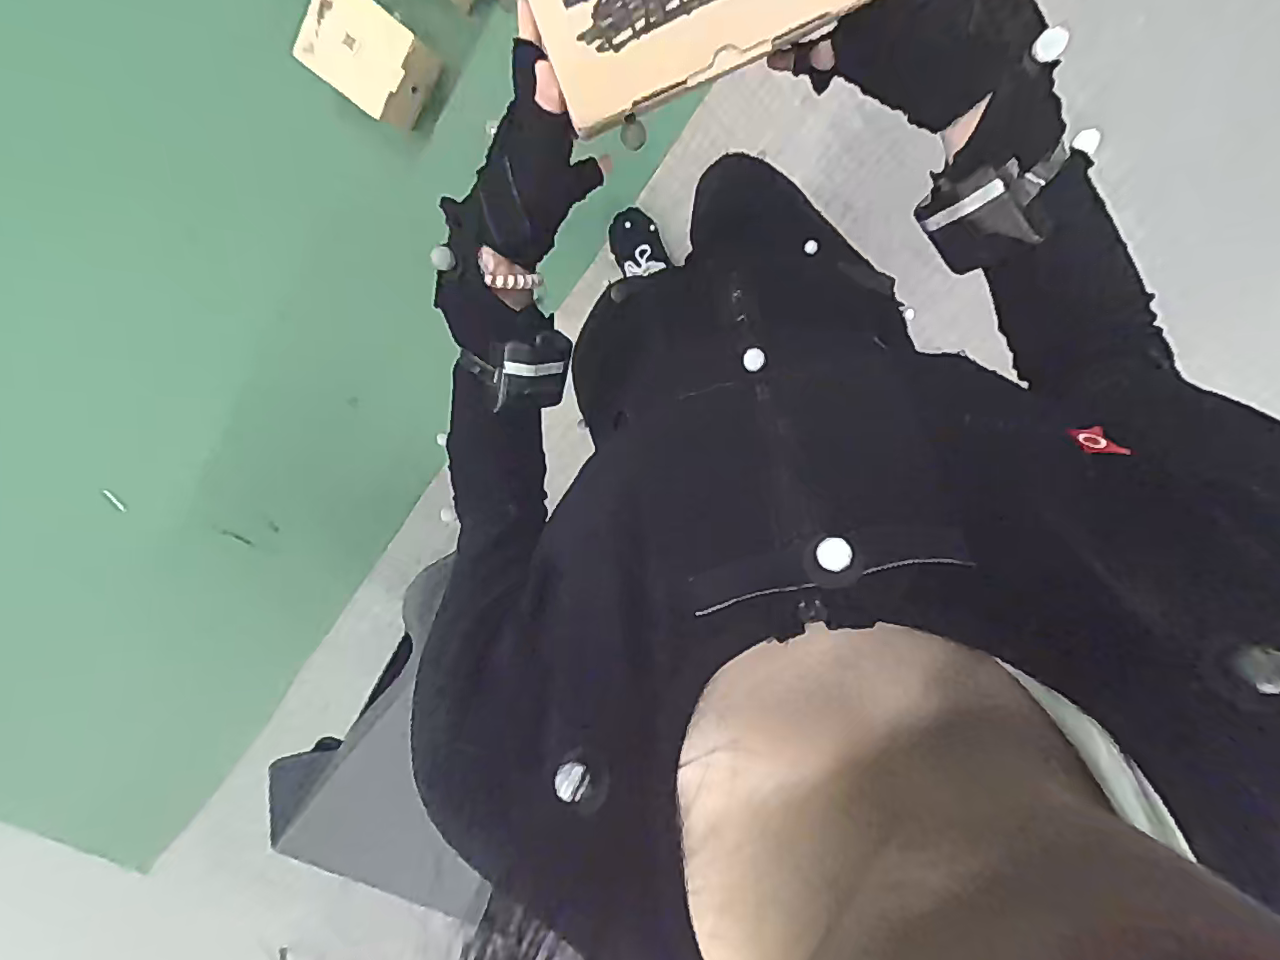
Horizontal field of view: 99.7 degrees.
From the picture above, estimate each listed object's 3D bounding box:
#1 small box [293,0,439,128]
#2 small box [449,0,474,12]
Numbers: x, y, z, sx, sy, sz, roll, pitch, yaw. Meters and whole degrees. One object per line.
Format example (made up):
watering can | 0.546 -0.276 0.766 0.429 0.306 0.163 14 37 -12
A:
small box | -0.526 -0.829 1.065 0.179 0.176 0.168 34 111 -17
small box | -0.358 -1.017 0.978 0.168 0.176 0.179 38 110 -17
